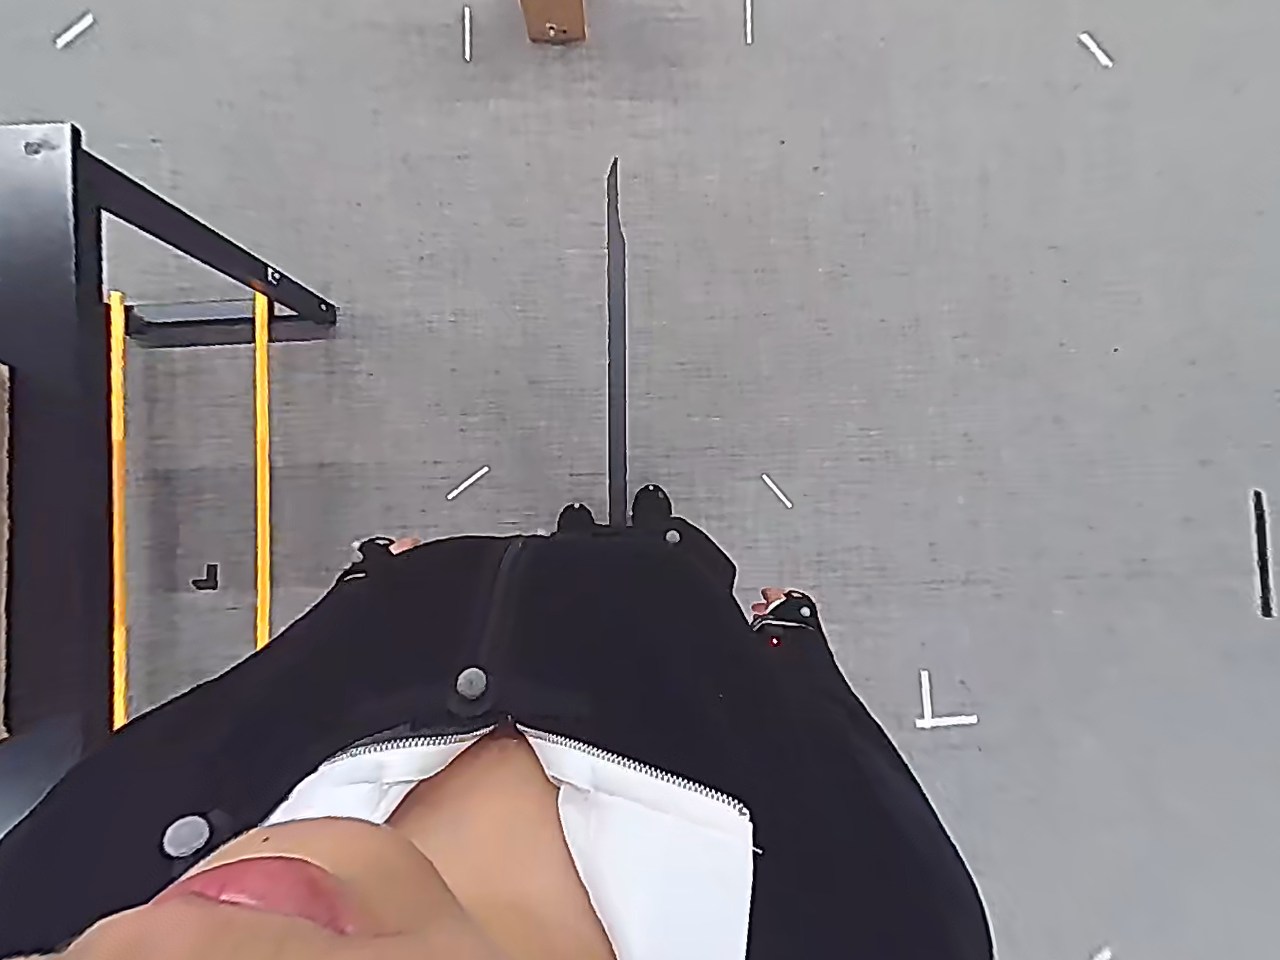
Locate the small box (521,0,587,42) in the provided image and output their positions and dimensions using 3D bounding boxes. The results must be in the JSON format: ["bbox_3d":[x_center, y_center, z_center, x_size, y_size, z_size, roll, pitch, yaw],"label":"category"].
[{"bbox_3d":[-0.235,-1.330,1.451,0.168,0.176,0.179,-4,90,0],"label":"small box"}]
